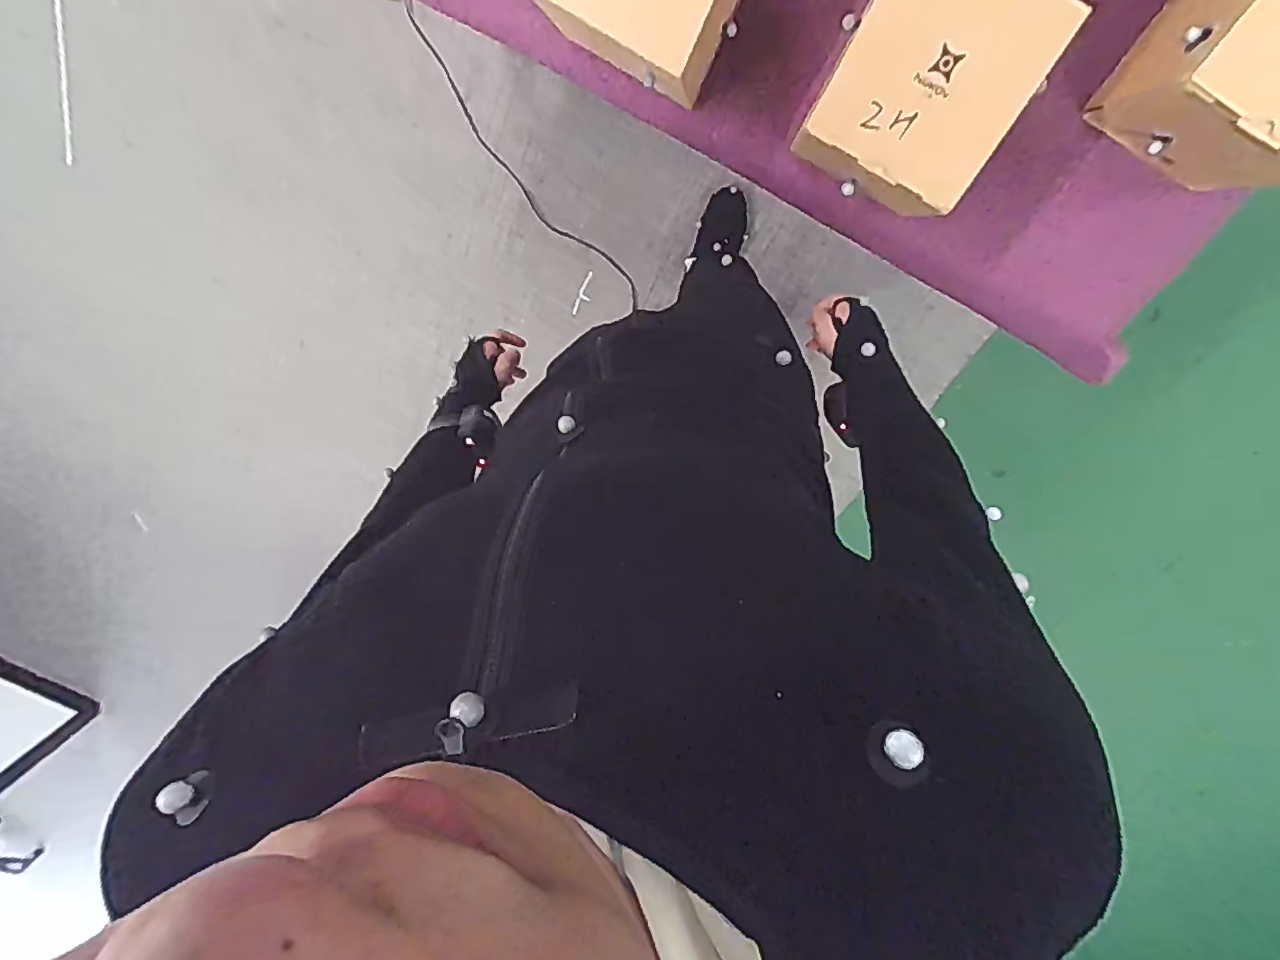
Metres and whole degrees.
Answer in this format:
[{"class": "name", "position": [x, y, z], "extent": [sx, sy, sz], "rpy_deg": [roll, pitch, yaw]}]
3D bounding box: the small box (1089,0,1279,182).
[{"class": "small box", "position": [0.586, -0.404, 0.499], "extent": [0.168, 0.176, 0.179], "rpy_deg": [29, 119, -4]}]

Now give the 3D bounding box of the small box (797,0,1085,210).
[{"class": "small box", "position": [0.278, -0.403, 0.556], "extent": [0.168, 0.176, 0.179], "rpy_deg": [28, 117, -4]}]
